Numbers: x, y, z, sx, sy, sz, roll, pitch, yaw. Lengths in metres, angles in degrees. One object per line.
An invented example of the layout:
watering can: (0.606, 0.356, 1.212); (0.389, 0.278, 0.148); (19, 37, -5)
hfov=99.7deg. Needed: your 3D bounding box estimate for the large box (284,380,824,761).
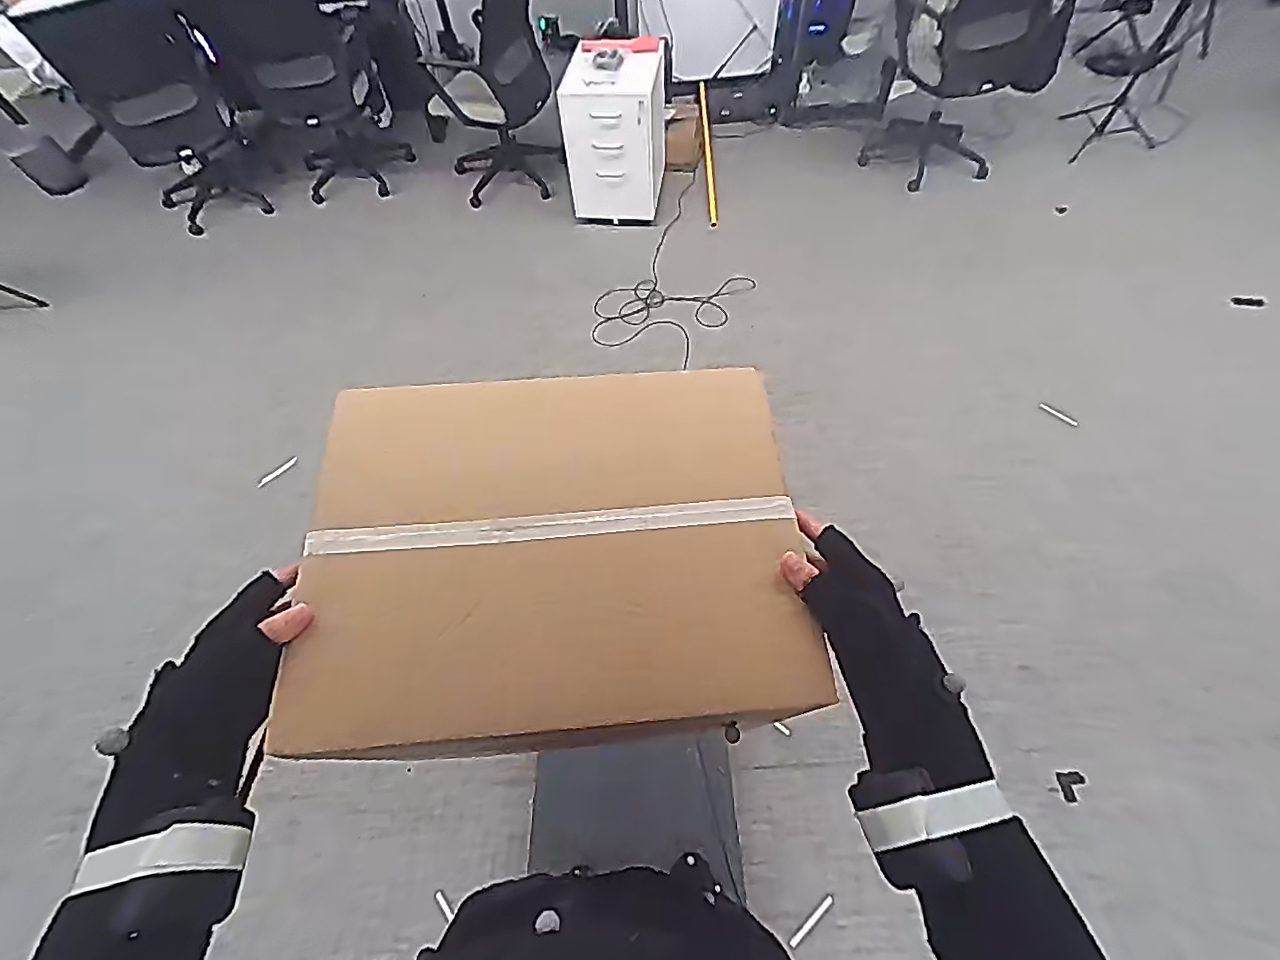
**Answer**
large box: (-0.073, 0.116, 0.594); (0.408, 0.320, 0.320); (-3, 62, -4)
